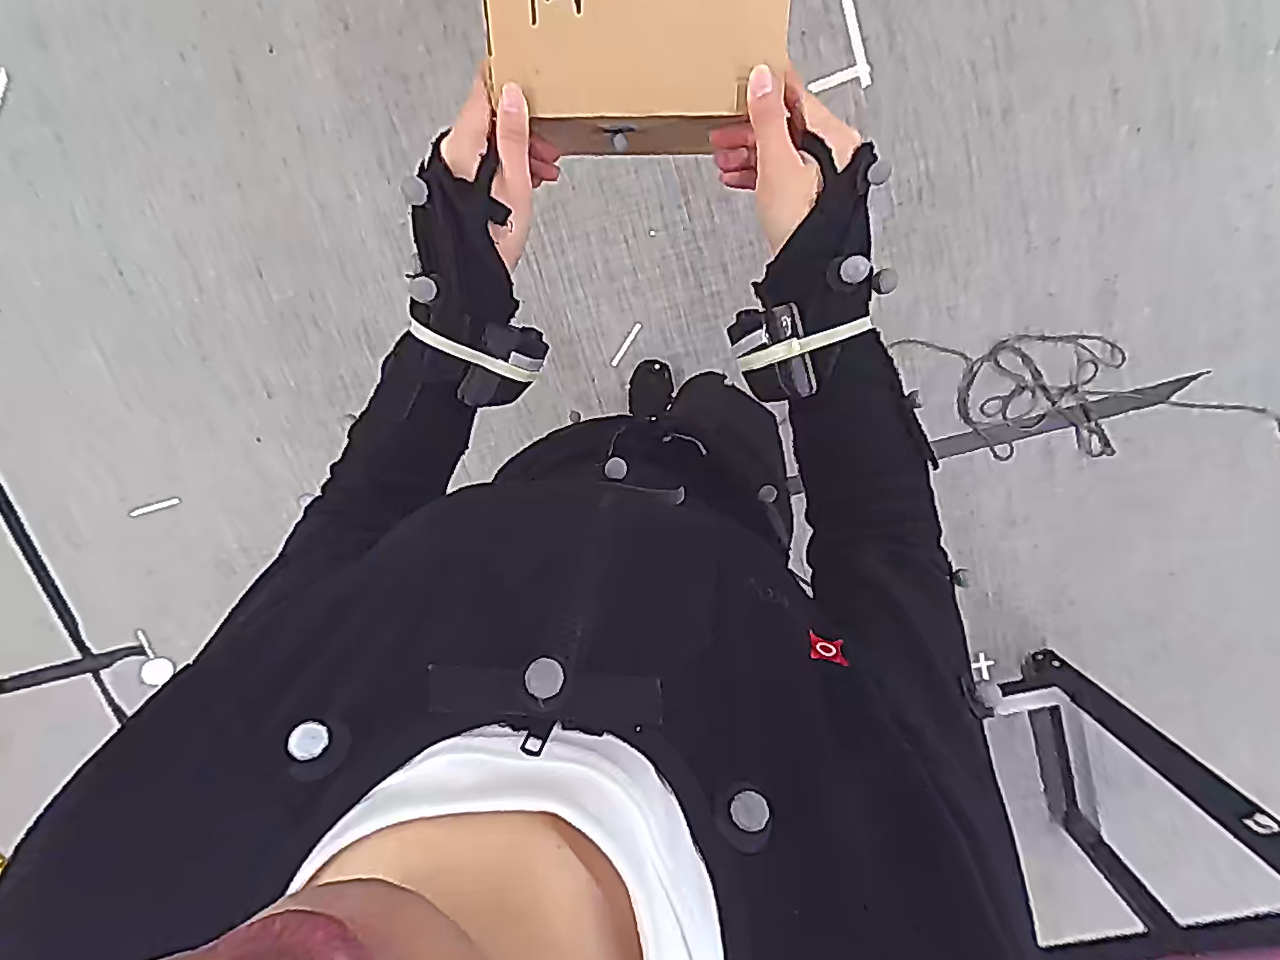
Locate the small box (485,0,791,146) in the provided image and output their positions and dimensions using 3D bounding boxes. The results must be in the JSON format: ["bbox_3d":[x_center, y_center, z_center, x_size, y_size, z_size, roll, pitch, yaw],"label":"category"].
[{"bbox_3d":[0.000,-0.332,0.364,0.179,0.176,0.168,0,114,0],"label":"small box"}]
